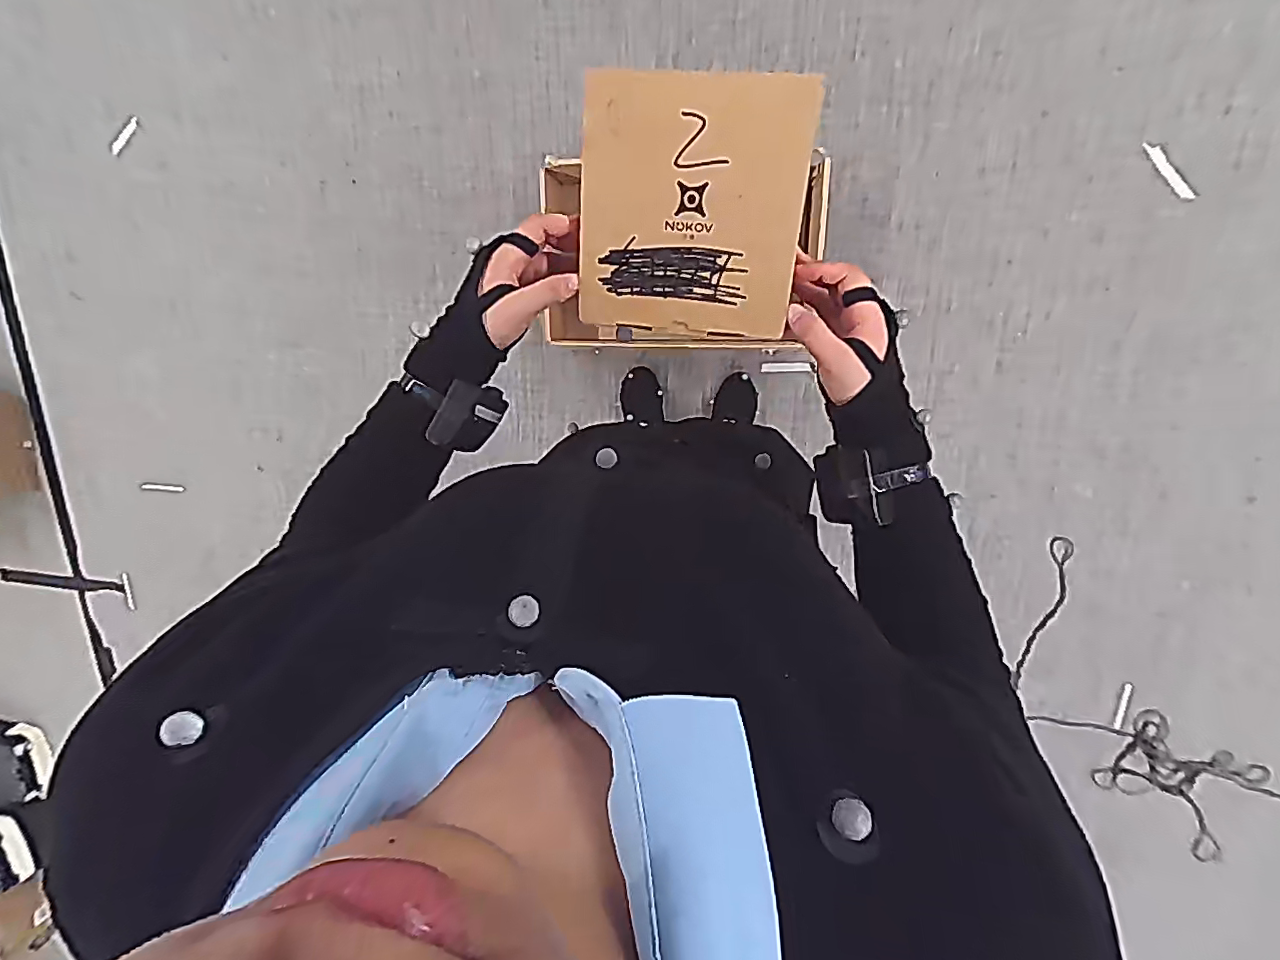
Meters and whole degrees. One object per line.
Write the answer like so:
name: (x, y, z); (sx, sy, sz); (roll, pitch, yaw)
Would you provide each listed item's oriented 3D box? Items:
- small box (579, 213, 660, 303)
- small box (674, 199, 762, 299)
small box: (-0.042, -0.506, 1.255); (0.168, 0.176, 0.179); (0, 104, 6)
small box: (0.174, -0.516, 1.224); (0.168, 0.176, 0.179); (8, 105, 7)
